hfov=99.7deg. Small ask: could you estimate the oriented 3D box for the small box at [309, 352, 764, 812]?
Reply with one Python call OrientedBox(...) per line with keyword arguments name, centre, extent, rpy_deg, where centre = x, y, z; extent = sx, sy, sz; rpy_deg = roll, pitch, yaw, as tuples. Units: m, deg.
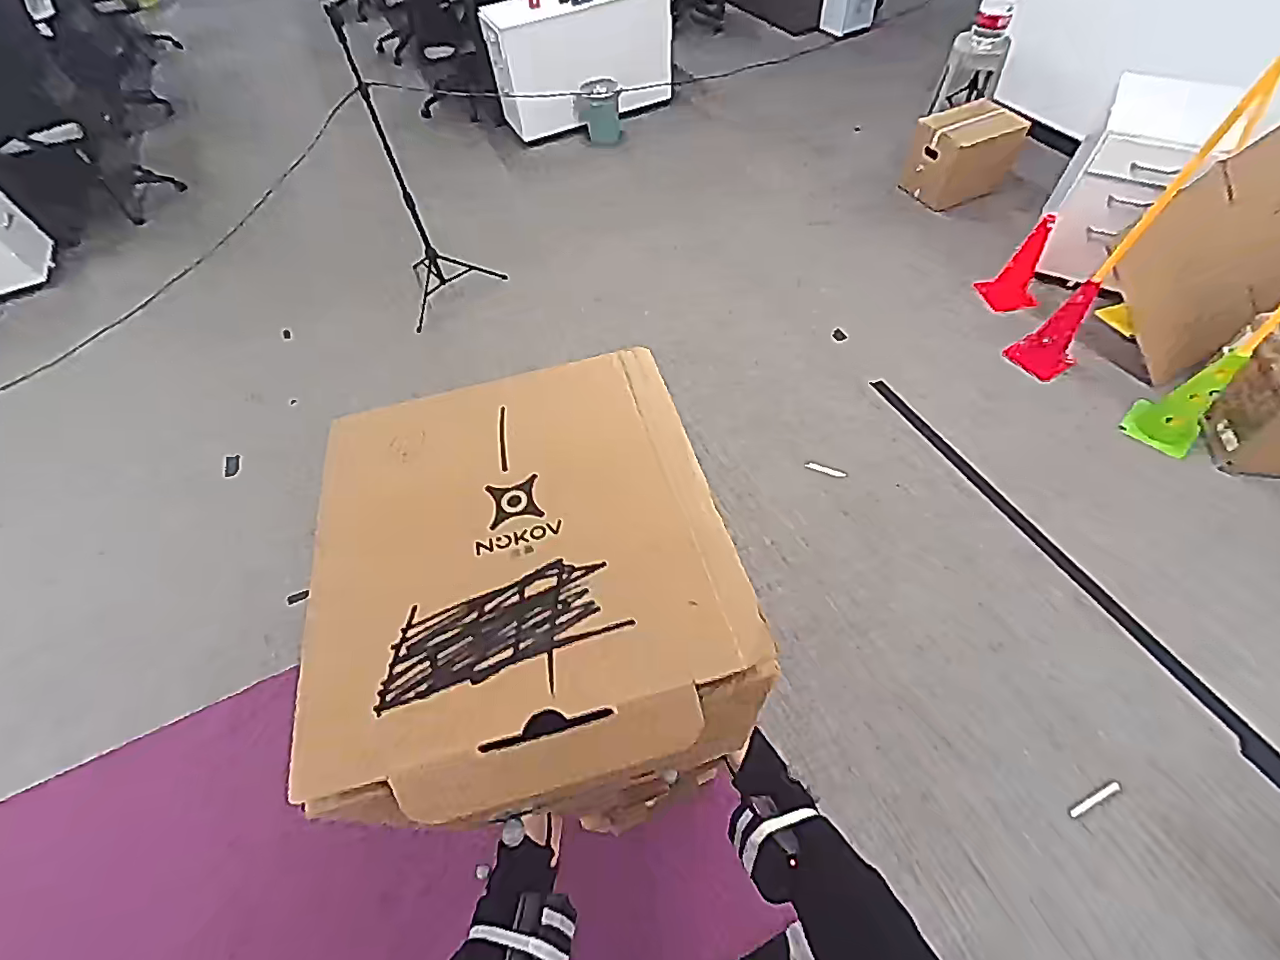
OrientedBox(name="small box", centre=(-0.045, 0.064, 0.298), extent=(0.168, 0.176, 0.179), rpy_deg=(-14, 54, -5))
